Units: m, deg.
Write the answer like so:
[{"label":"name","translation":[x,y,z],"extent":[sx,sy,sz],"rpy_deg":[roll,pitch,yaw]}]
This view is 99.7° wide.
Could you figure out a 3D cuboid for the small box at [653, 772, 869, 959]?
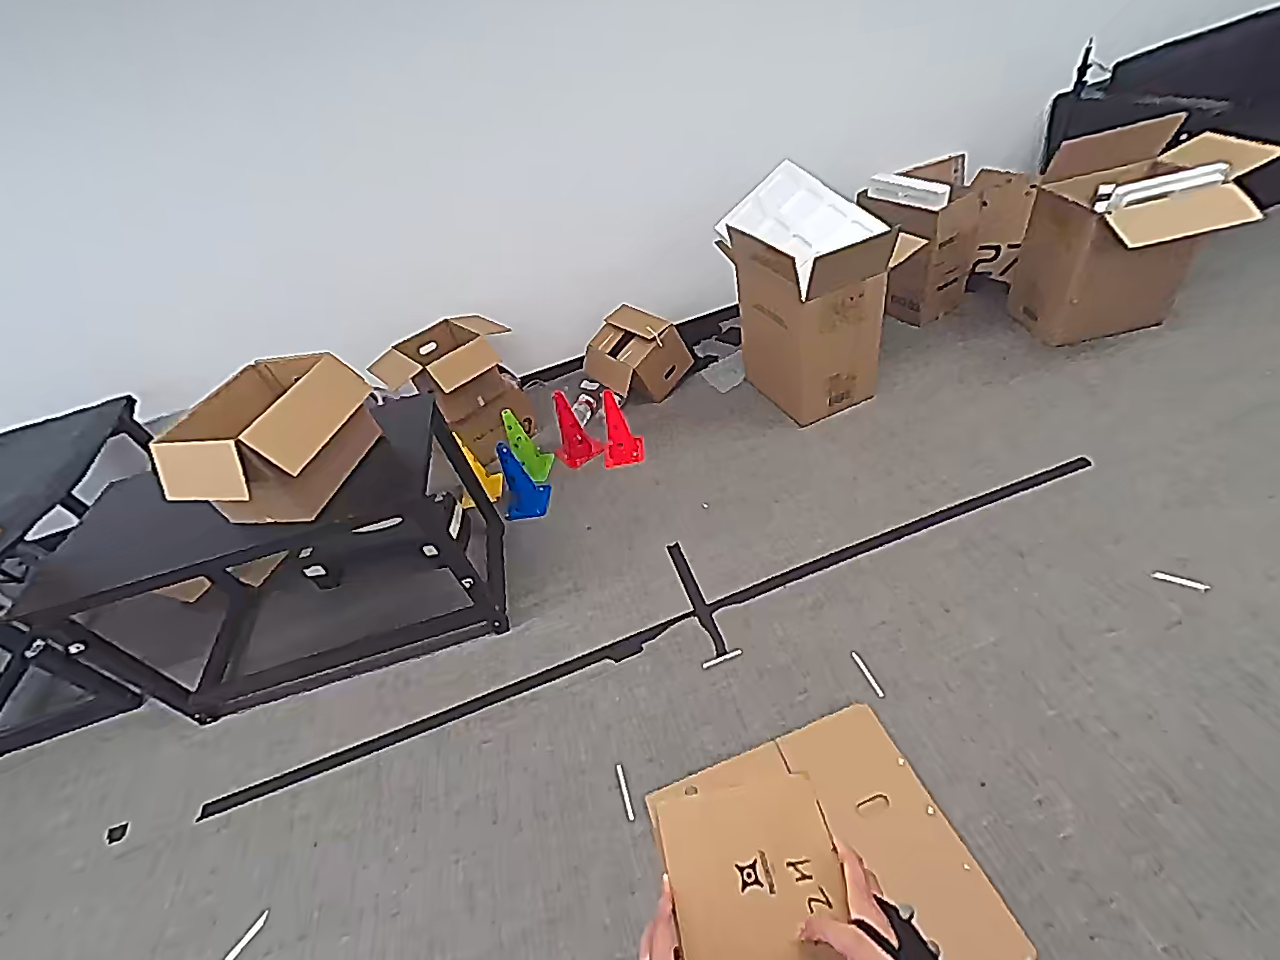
[{"label":"small box","translation":[0.115,0.449,0.594],"extent":[0.179,0.176,0.168],"rpy_deg":[-8,46,-7]}]
